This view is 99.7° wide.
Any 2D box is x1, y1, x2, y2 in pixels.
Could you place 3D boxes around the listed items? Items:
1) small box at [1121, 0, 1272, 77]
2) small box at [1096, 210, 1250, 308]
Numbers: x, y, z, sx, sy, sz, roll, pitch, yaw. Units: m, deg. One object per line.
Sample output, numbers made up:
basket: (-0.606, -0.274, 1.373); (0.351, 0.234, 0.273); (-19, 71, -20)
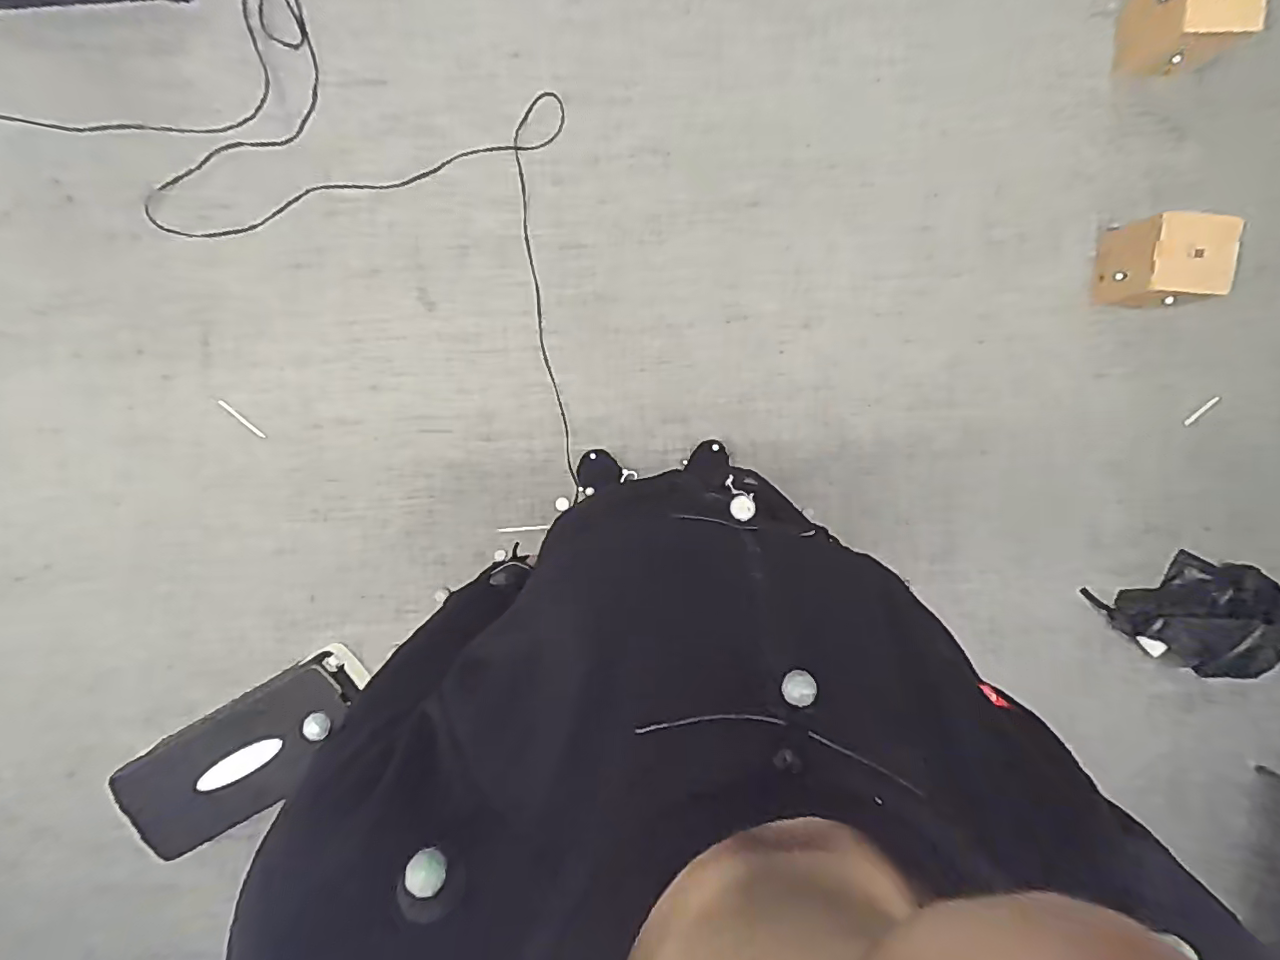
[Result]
small box: (1.204, -1.016, 1.177); (0.168, 0.176, 0.179); (0, 96, 0)
small box: (1.200, -0.496, 1.233); (0.179, 0.176, 0.168); (4, 97, -1)
